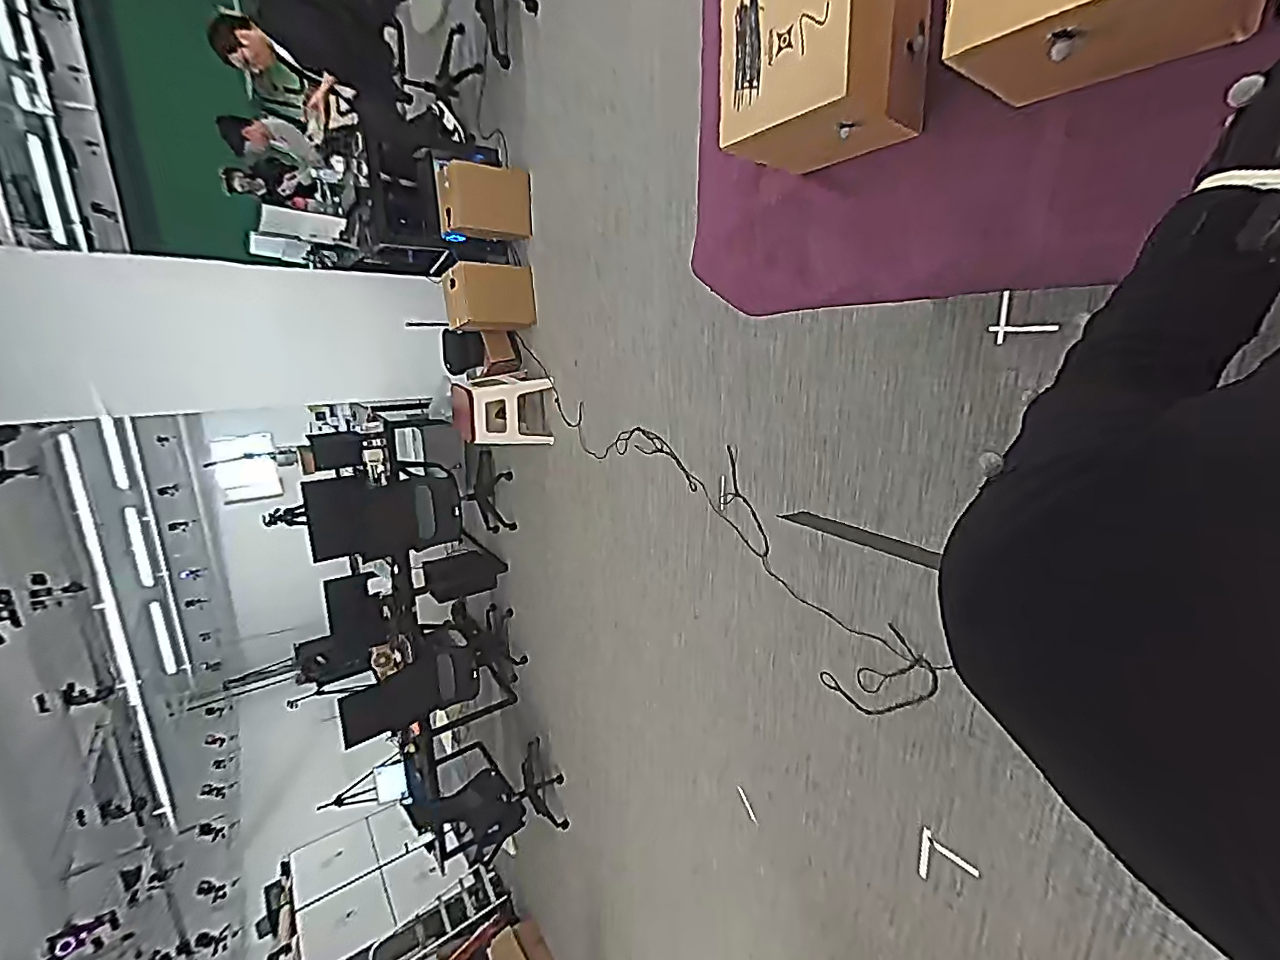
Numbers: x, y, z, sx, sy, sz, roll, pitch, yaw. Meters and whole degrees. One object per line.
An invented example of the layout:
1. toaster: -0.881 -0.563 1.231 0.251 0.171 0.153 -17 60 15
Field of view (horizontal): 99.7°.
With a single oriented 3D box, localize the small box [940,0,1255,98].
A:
1. small box: 0.377 -0.440 0.429 0.179 0.176 0.168 19 115 52
